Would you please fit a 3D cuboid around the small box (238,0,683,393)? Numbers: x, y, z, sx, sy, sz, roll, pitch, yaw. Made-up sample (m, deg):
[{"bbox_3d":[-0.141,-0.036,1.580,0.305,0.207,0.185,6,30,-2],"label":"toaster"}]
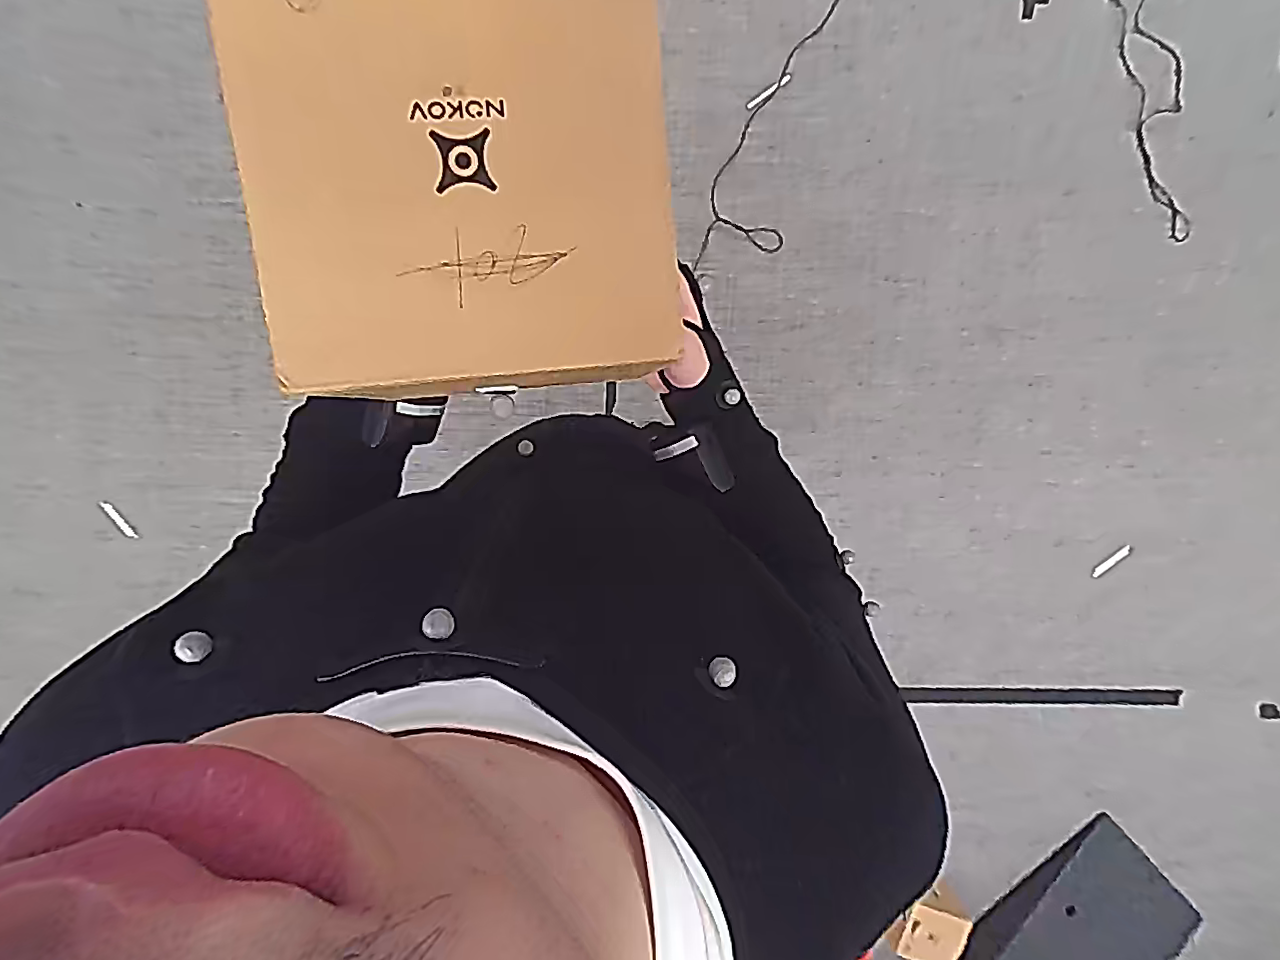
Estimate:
[{"bbox_3d":[-0.079,-0.146,0.302,0.168,0.176,0.179,-7,99,-6],"label":"small box"}]
